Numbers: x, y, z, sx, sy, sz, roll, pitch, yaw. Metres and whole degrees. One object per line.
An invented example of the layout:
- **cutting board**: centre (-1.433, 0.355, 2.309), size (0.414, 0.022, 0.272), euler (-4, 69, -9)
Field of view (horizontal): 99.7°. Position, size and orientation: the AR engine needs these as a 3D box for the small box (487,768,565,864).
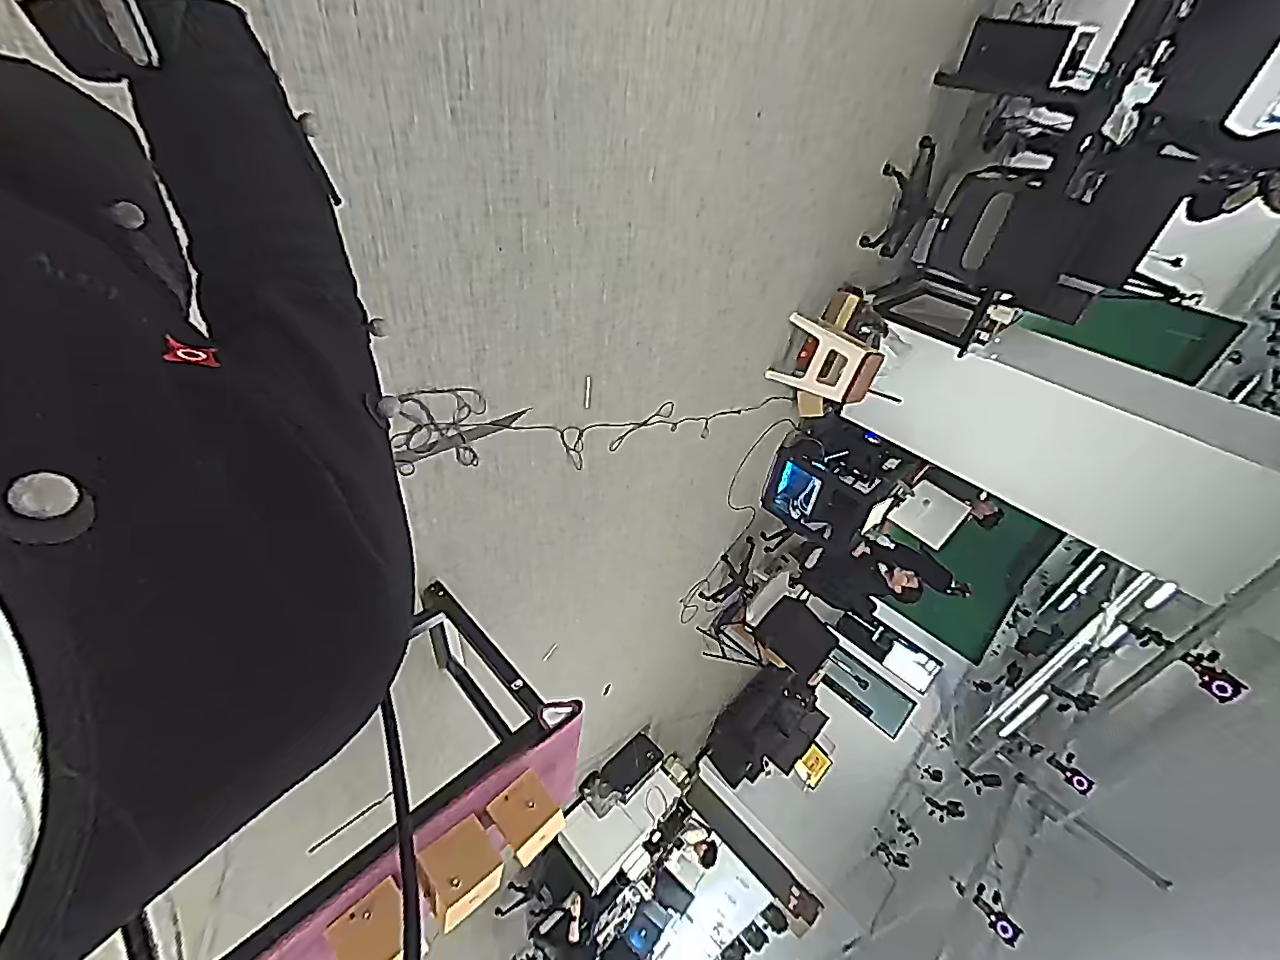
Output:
- **small box**: centre (-0.354, 1.033, 1.676), size (0.168, 0.176, 0.179), euler (-34, 144, -31)
